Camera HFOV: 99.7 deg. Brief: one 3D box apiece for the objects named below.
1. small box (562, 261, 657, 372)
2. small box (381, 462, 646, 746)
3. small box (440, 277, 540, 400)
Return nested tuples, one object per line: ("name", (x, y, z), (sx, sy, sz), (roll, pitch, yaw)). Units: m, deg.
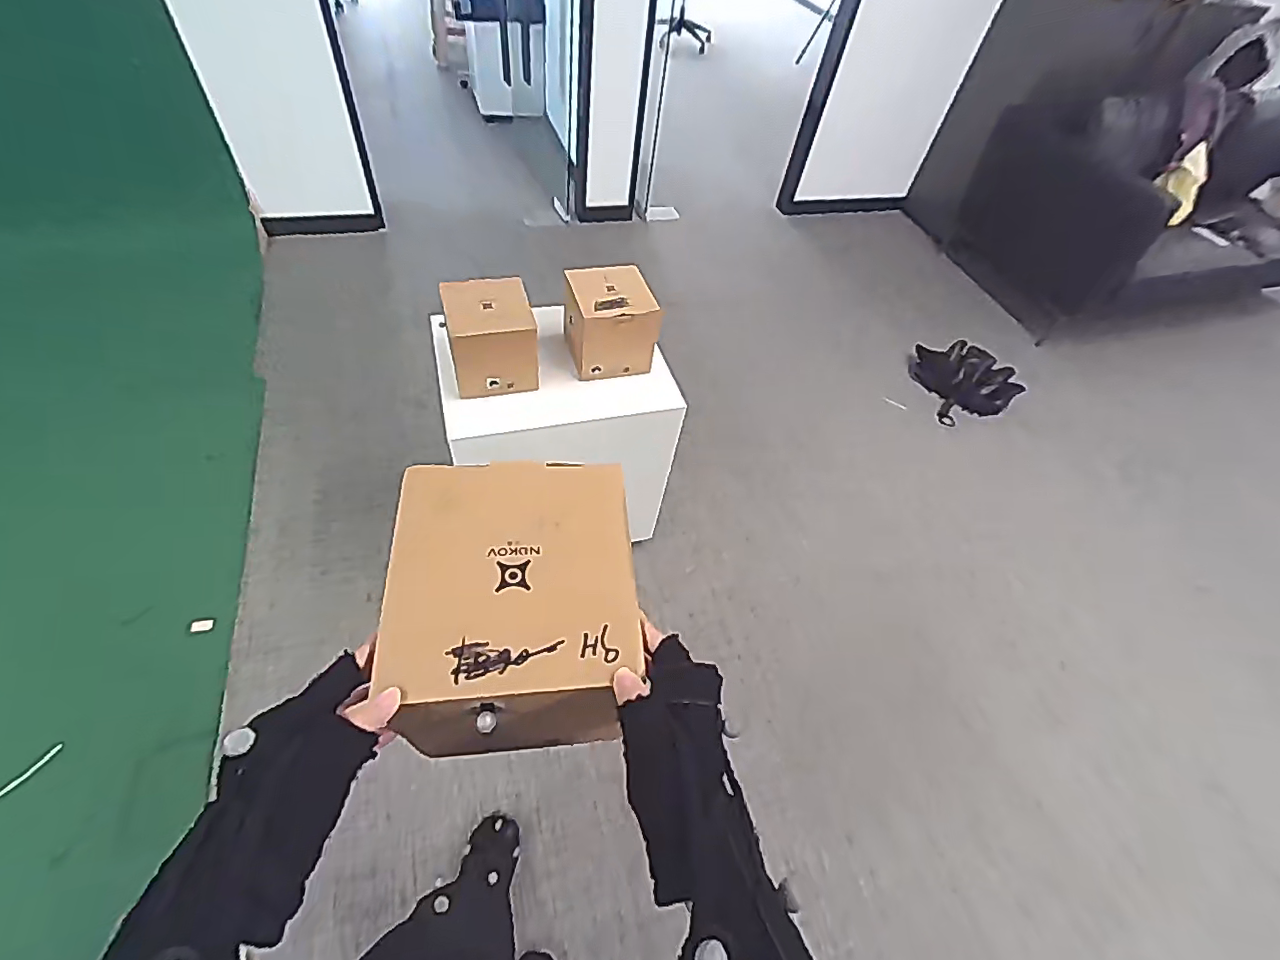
("small box", (-0.071, -0.355, 1.198), (0.168, 0.176, 0.179), (-12, 55, -15))
("small box", (-0.093, 0.104, 0.448), (0.168, 0.176, 0.179), (-3, 56, -8))
("small box", (-0.309, -0.294, 1.126), (0.168, 0.176, 0.179), (-13, 57, -16))
